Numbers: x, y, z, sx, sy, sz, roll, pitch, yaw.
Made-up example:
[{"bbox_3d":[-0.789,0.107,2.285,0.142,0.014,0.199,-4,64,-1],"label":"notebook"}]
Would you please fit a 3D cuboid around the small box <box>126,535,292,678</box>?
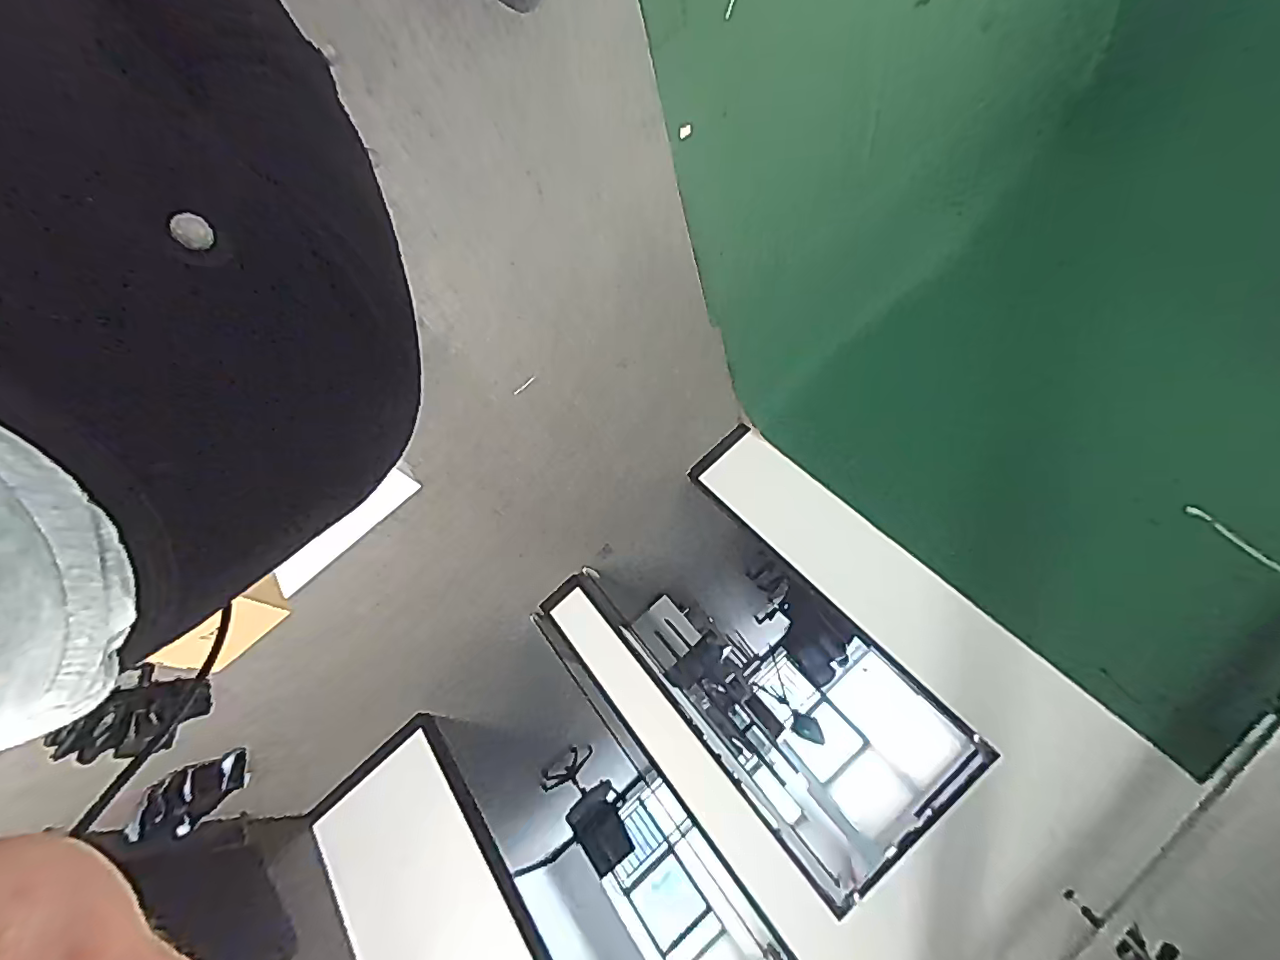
[{"bbox_3d":[-0.807,0.237,1.013,0.179,0.176,0.168,-43,151,-7],"label":"small box"}]
